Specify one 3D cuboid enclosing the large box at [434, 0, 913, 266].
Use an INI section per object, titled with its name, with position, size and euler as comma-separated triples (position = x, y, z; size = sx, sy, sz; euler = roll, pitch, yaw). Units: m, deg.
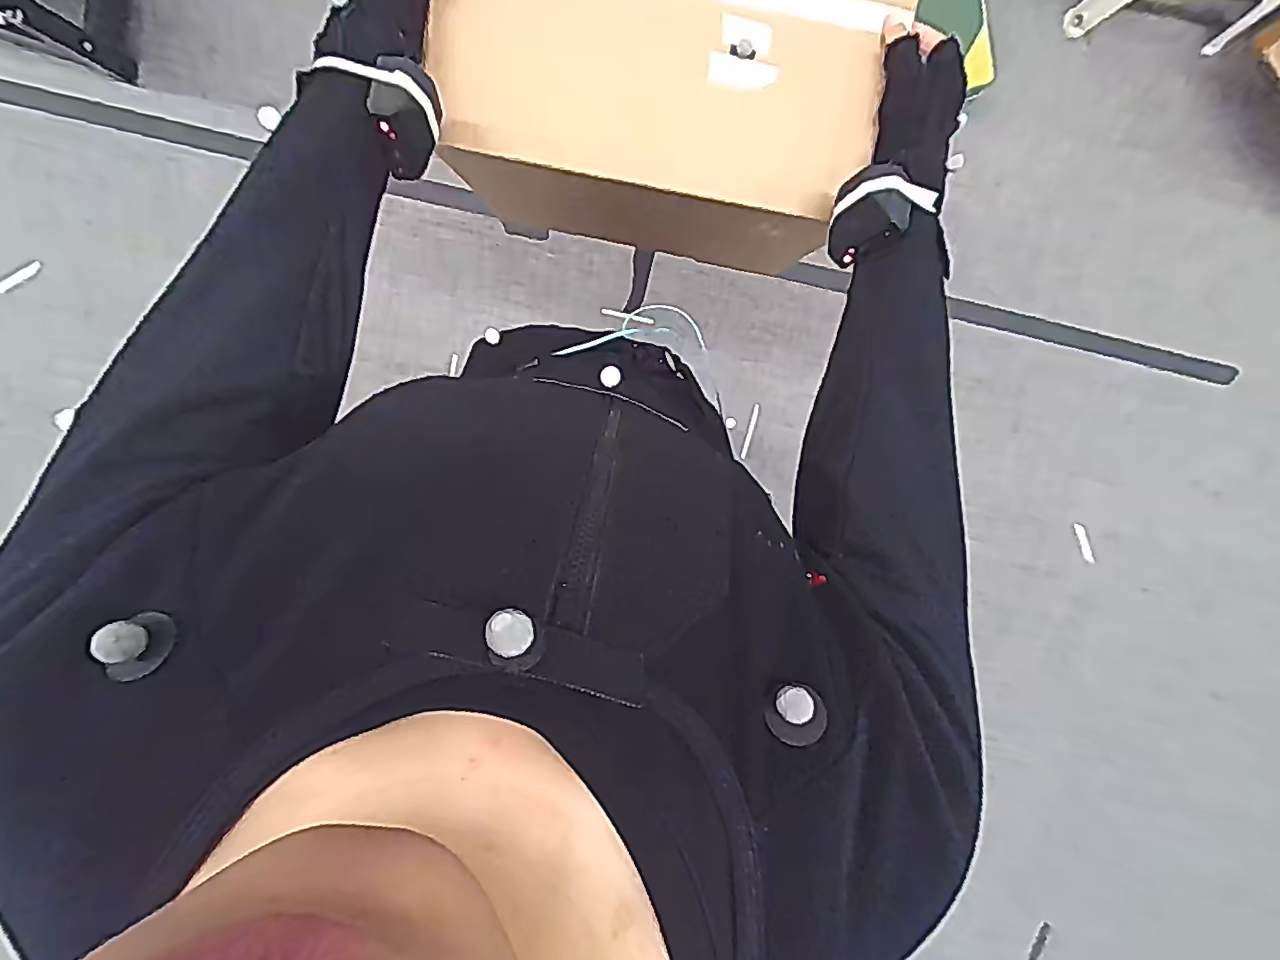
[large box]
position = 0.031, -0.454, 0.603
size = 0.408, 0.320, 0.320
euler = 10, 104, -3
